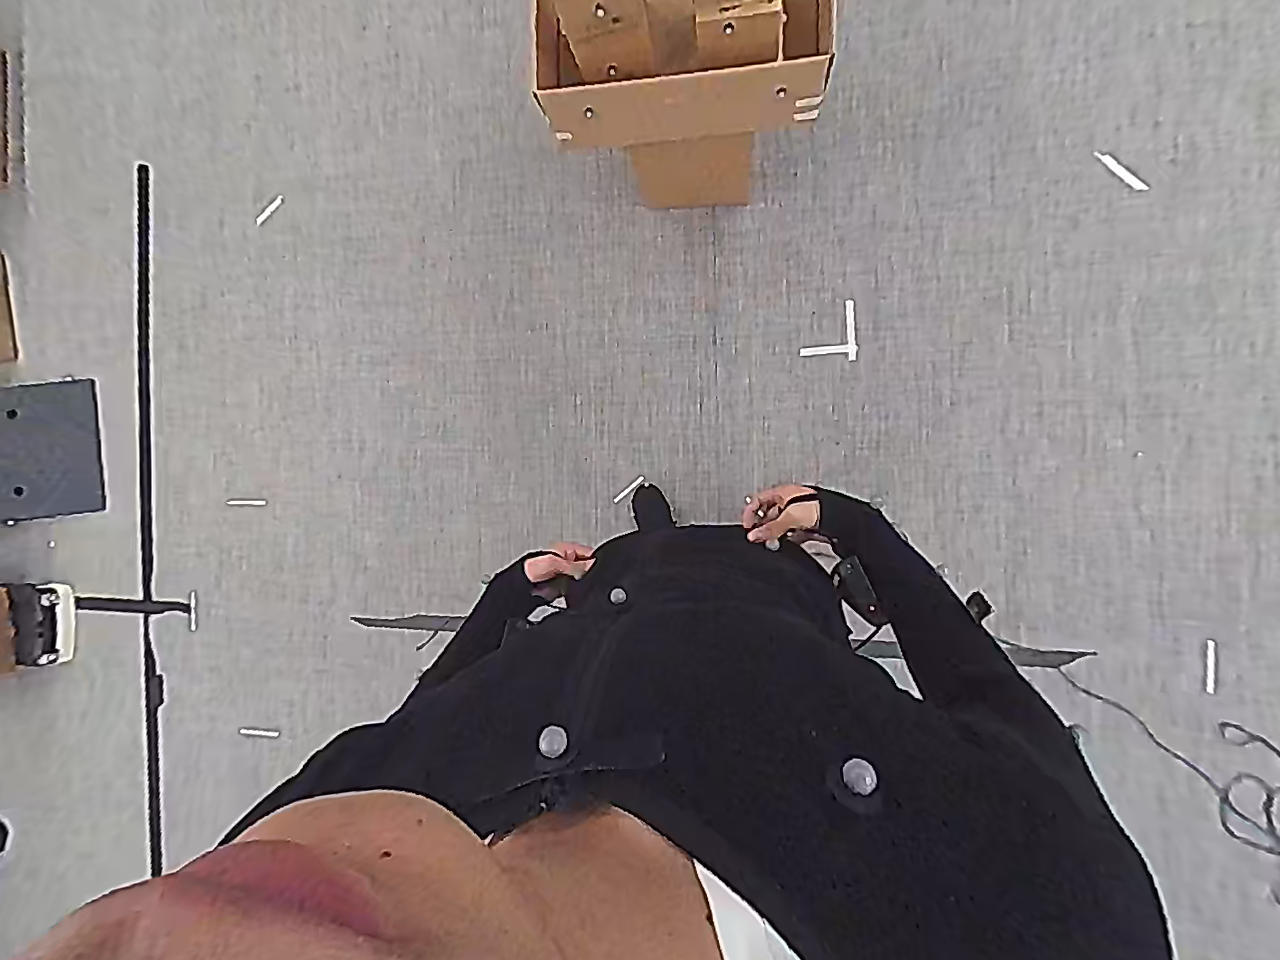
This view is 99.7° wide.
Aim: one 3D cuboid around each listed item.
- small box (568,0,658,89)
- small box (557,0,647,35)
[{"bbox_3d":[-0.062,-0.997,1.158,0.168,0.176,0.179,-8,89,11],"label":"small box"},{"bbox_3d":[-0.088,-0.986,0.996,0.168,0.176,0.179,-7,90,11],"label":"small box"}]
